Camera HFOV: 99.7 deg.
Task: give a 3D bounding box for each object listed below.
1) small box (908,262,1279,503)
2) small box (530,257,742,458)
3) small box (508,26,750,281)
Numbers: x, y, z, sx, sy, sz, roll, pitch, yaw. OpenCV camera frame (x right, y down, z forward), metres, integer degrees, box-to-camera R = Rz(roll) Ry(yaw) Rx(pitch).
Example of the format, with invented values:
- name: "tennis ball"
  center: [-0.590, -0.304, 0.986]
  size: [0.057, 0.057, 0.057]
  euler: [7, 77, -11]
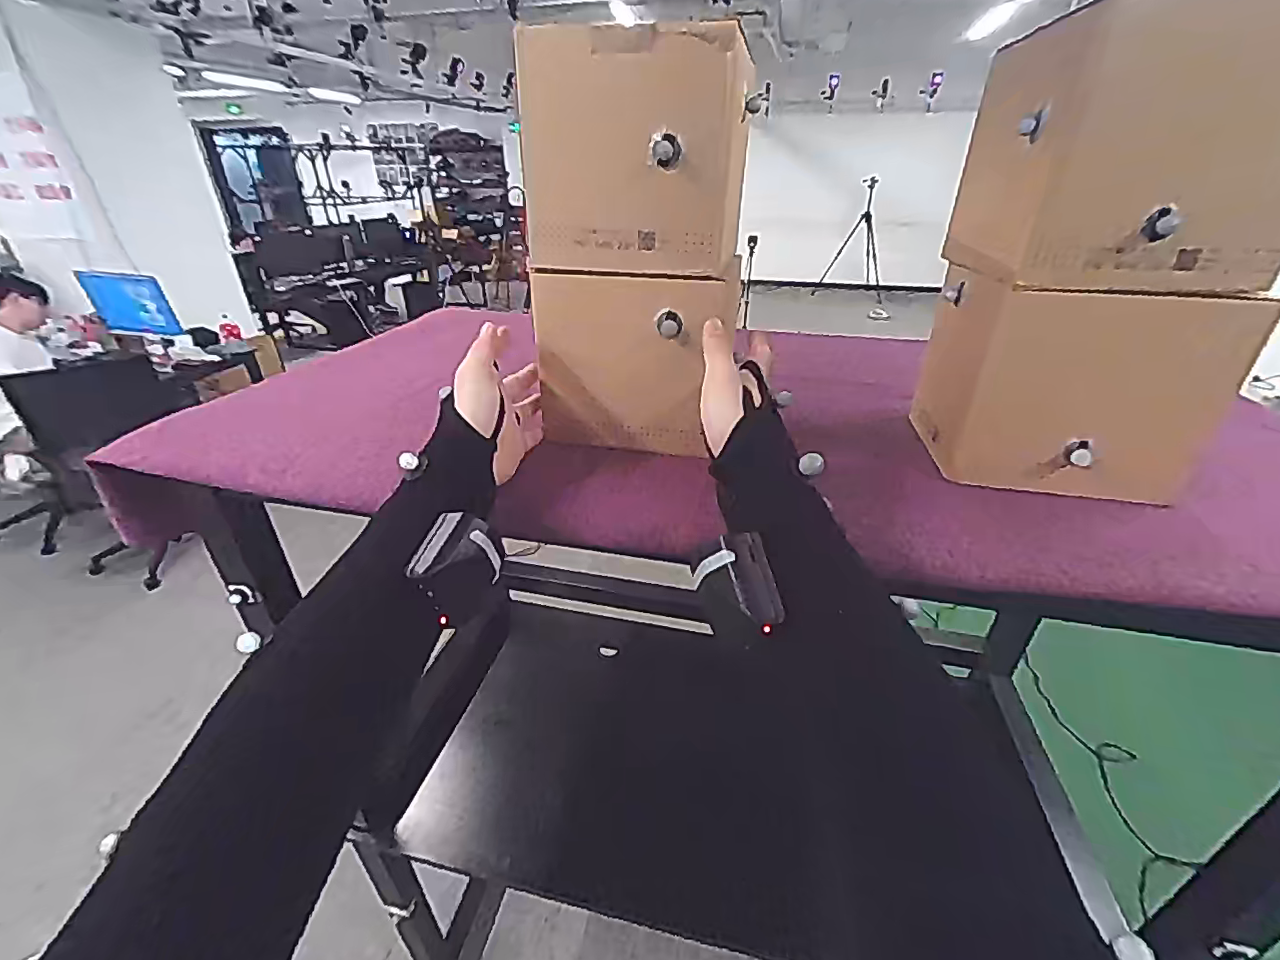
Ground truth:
- name: "small box"
  center: [0.367, -0.094, 0.486]
  size: [0.179, 0.176, 0.168]
  euler: [6, 28, 11]
- name: "small box"
  center: [0.005, -0.134, 0.565]
  size: [0.179, 0.176, 0.168]
  euler: [6, 30, 12]
- name: "small box"
  center: [0.002, -0.279, 0.489]
  size: [0.168, 0.176, 0.179]
  euler: [8, 30, 12]
